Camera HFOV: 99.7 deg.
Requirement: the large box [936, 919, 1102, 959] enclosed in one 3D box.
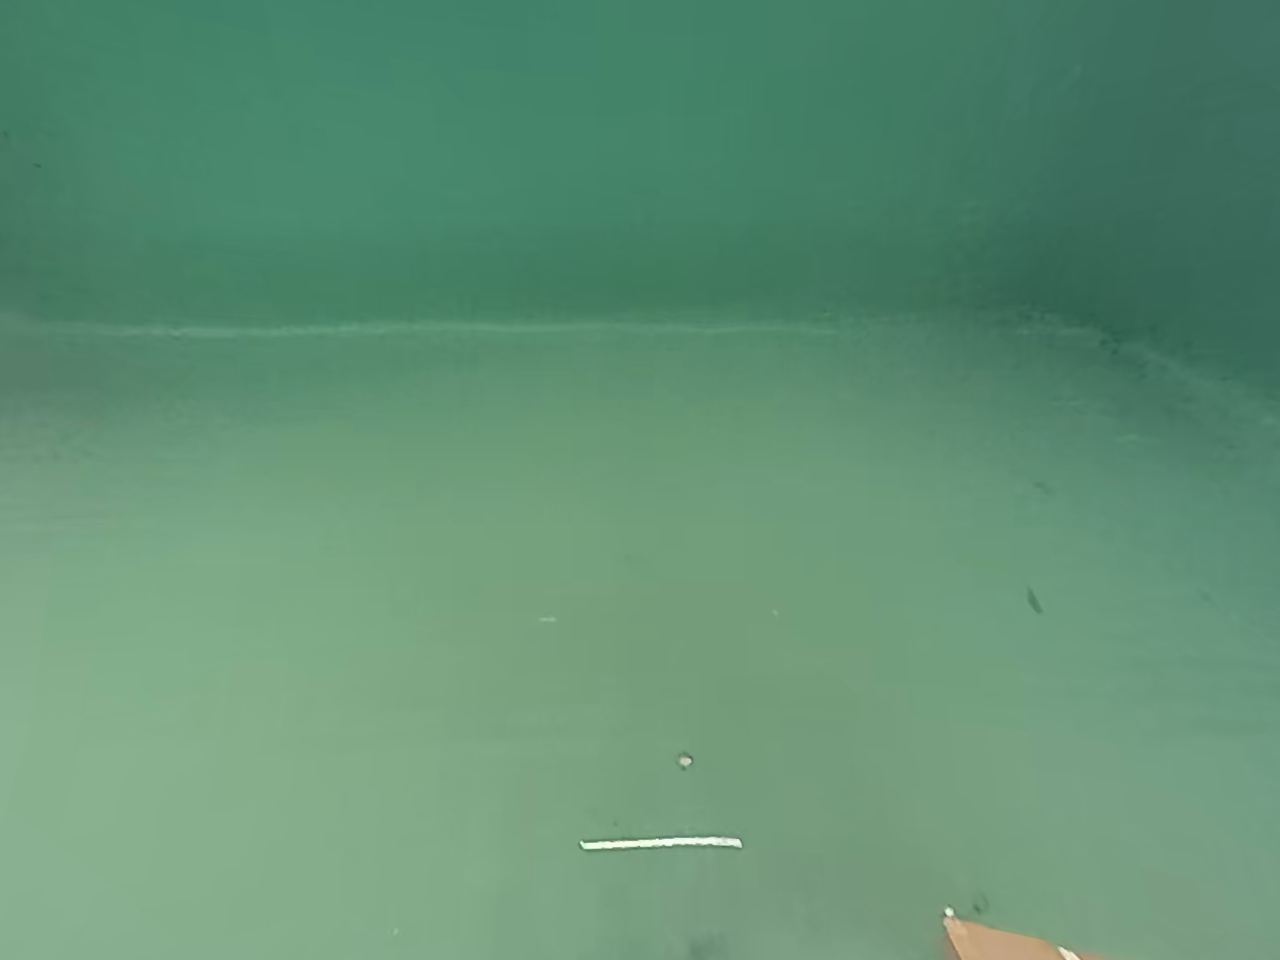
[{"bbox_3d":[0.532,0.794,0.570,0.320,0.408,0.320,8,82,14],"label":"large box"}]
